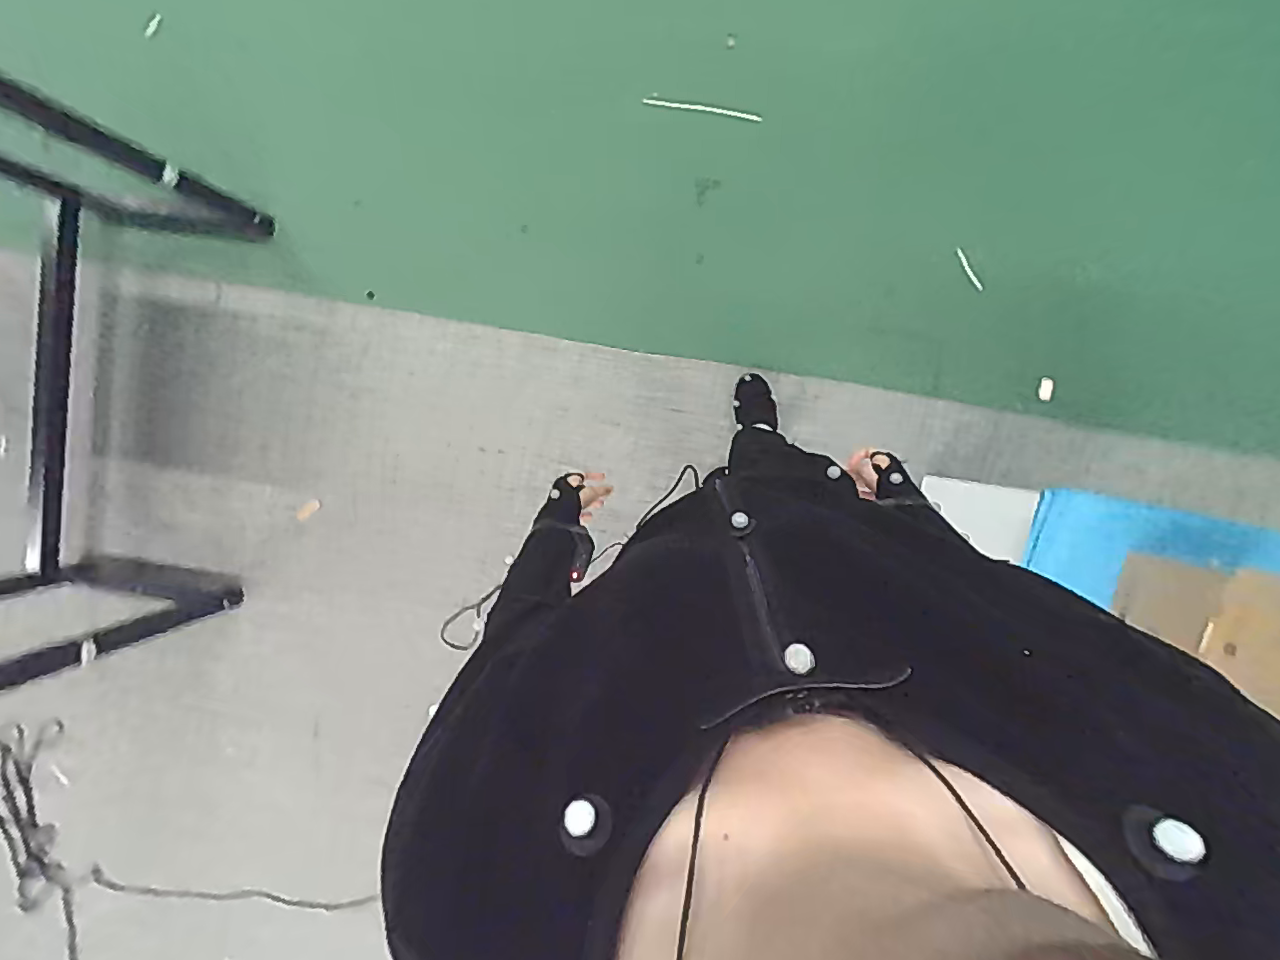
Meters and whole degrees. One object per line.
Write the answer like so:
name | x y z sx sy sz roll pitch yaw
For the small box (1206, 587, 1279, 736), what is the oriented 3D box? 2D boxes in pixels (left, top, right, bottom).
small box | 0.819 0.232 0.608 0.179 0.176 0.168 15 96 3
